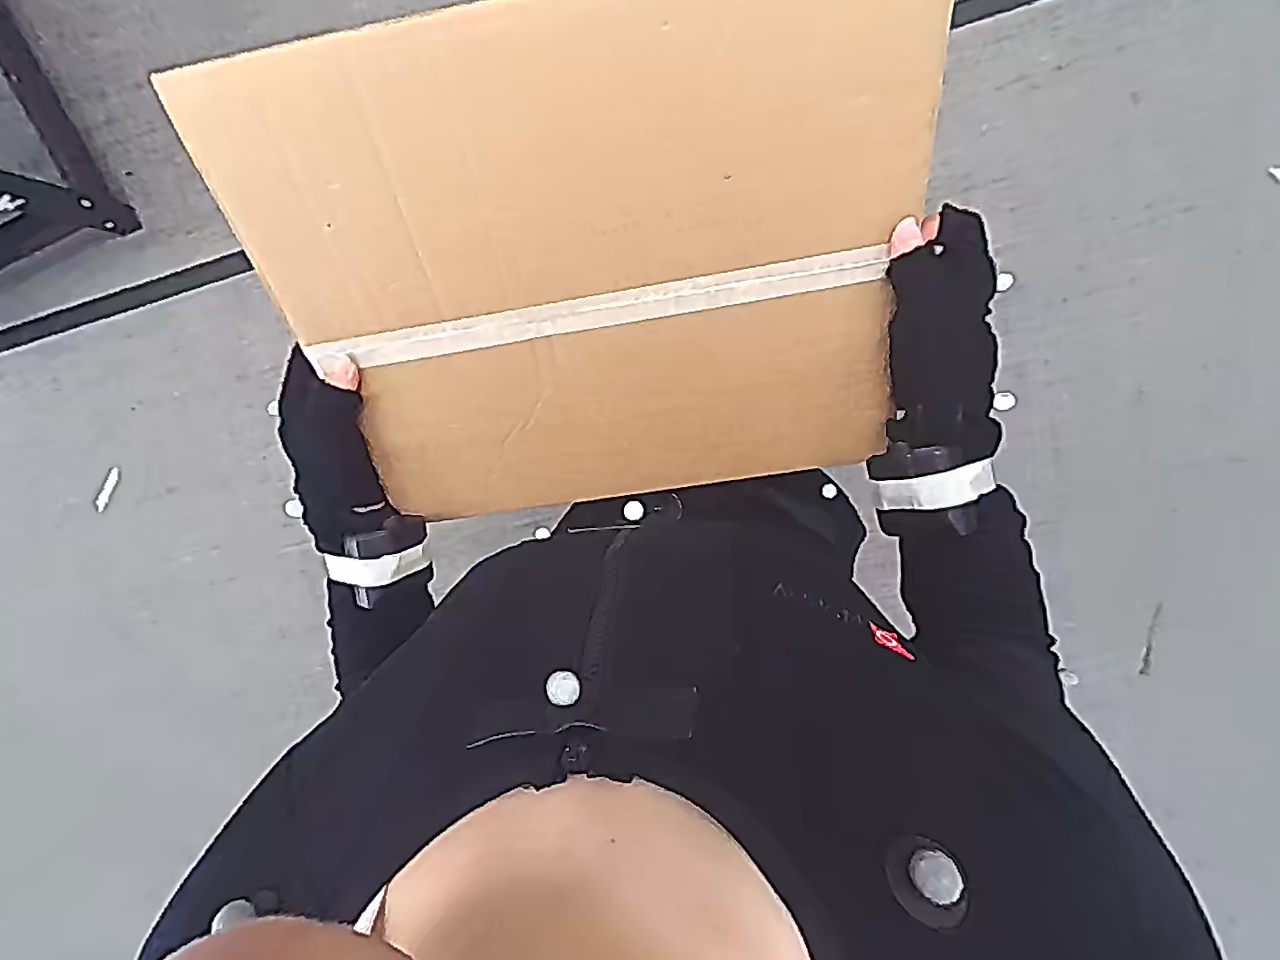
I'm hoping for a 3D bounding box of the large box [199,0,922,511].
[{"bbox_3d":[-0.029,-0.210,0.488,0.408,0.320,0.320,-8,127,5],"label":"large box"}]
